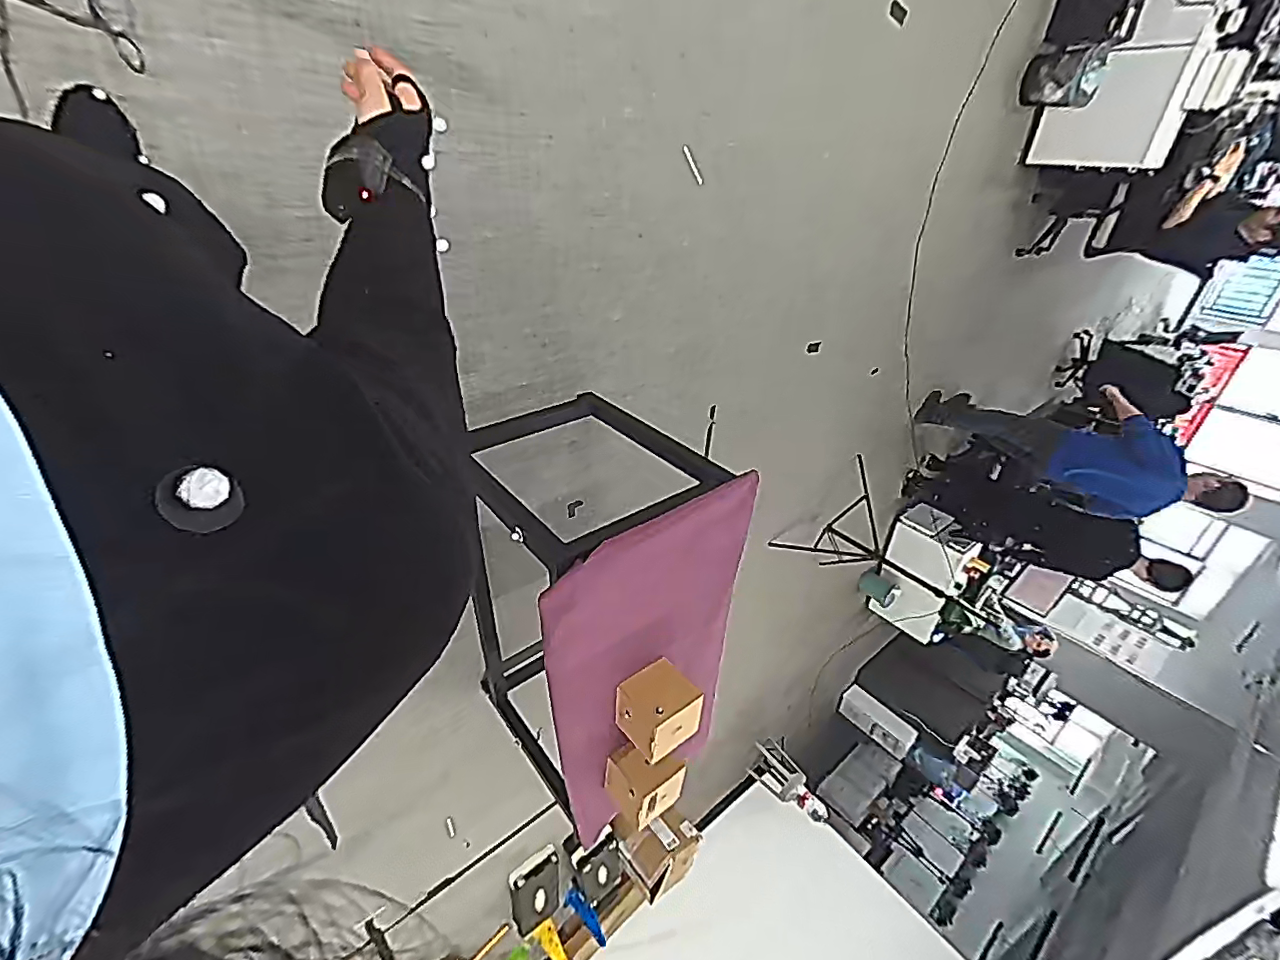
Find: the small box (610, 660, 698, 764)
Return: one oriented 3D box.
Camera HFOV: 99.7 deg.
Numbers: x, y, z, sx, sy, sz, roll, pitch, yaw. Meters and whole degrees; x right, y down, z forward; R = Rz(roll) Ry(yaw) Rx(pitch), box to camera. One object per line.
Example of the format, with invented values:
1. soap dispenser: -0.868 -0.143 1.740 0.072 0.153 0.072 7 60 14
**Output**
1. small box: 0.037 0.644 1.524 0.179 0.176 0.168 -20 128 -34
